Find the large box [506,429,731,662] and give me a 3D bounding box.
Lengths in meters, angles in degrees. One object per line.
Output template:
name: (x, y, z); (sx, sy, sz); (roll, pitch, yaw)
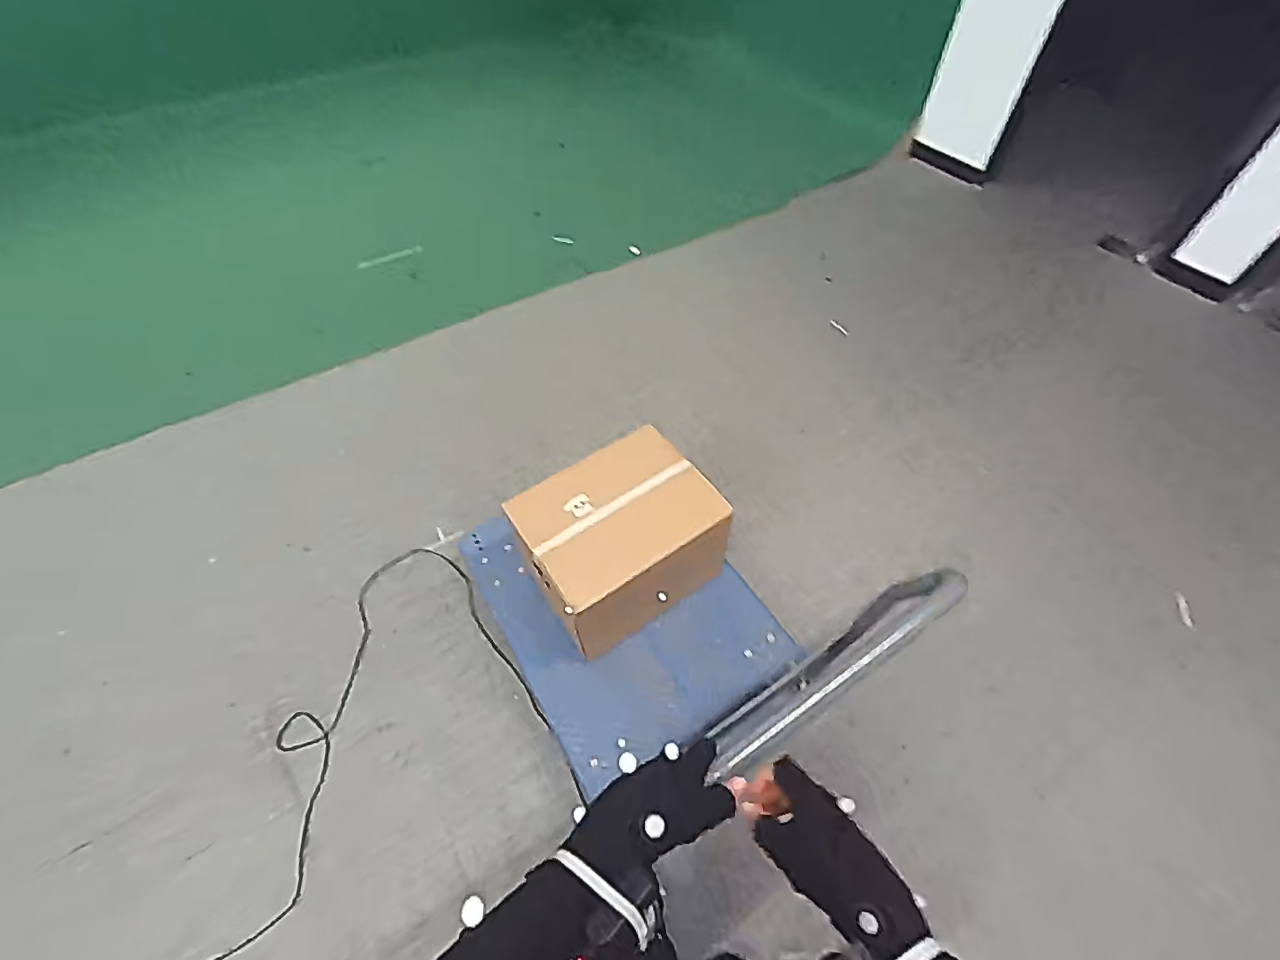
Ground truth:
large box: (-0.042, 0.156, 1.291); (0.408, 0.320, 0.320); (-31, 58, -18)
